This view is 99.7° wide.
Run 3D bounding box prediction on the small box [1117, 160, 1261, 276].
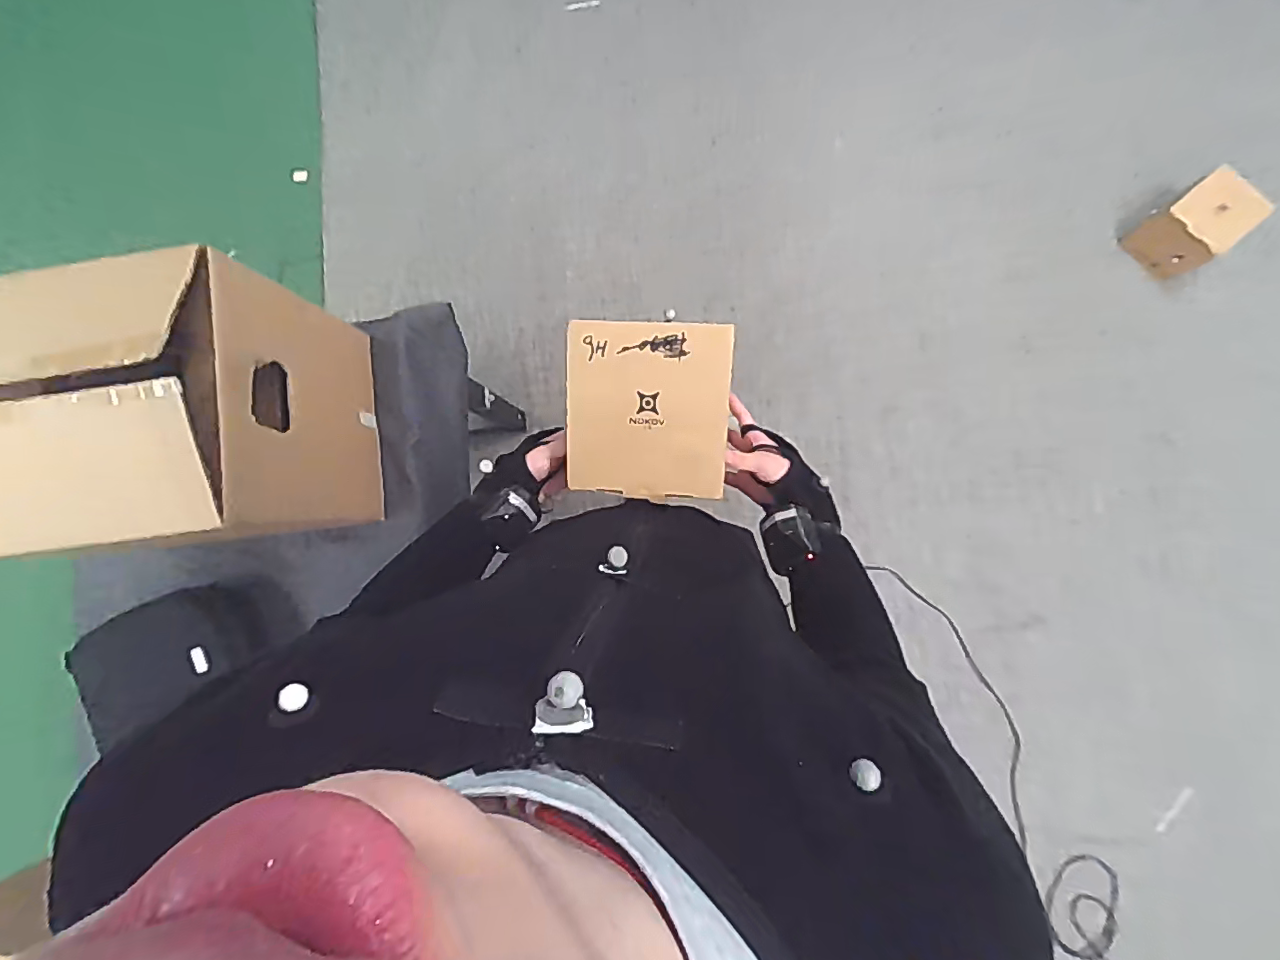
[{"bbox_3d":[1.416,-0.674,1.415,0.179,0.176,0.168,-42,85,-1],"label":"small box"}]
